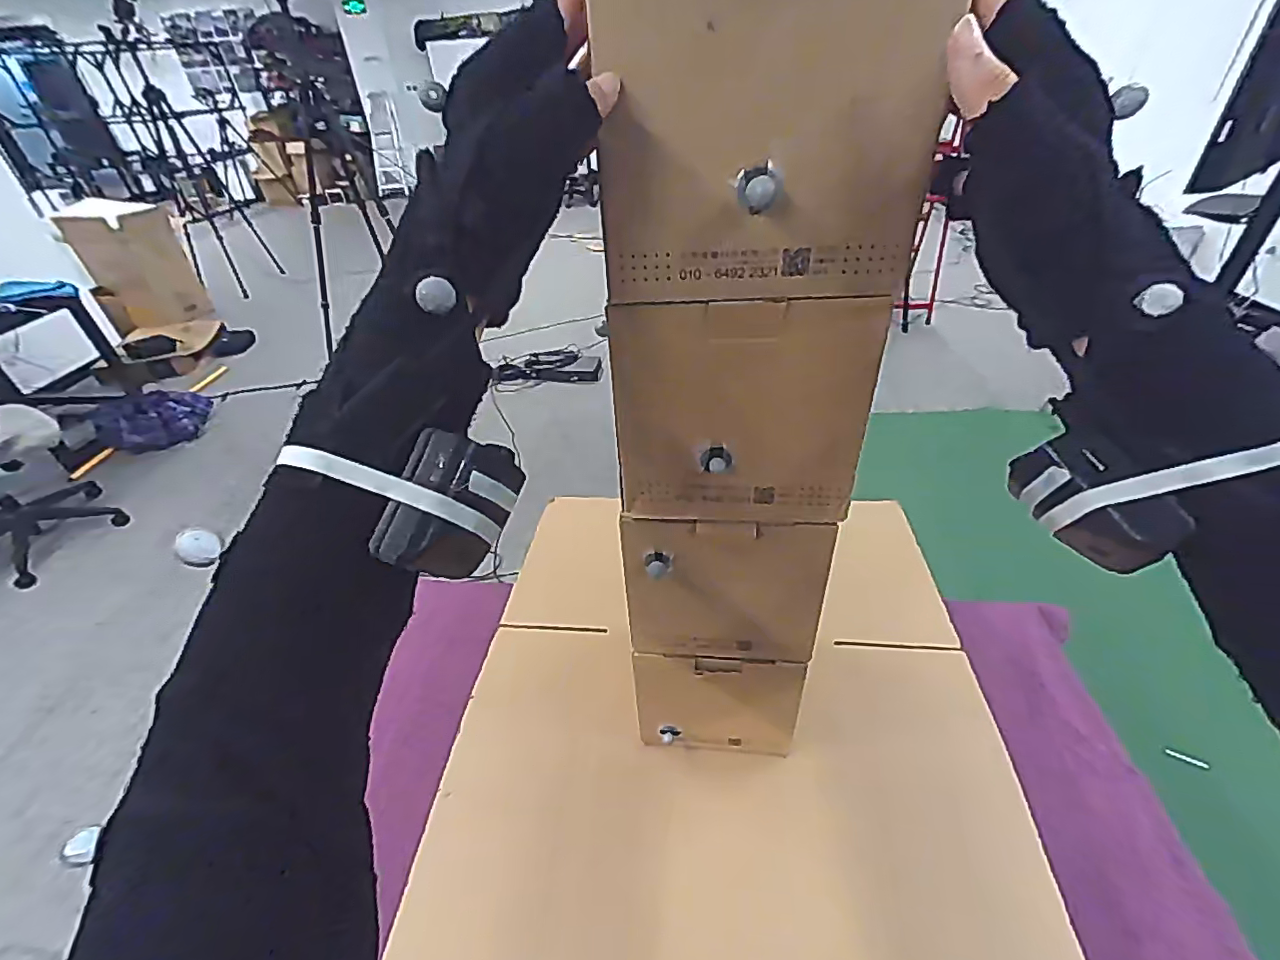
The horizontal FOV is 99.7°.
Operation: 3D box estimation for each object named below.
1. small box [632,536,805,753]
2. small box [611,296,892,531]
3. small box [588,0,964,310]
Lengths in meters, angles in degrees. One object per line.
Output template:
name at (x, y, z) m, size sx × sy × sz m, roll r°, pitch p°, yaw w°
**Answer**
small box at (0.089, 0.185, 0.618) m, size 0.168 × 0.176 × 0.179 m, roll 1°, pitch 36°, yaw 8°
small box at (0.073, -0.081, 0.427) m, size 0.168 × 0.176 × 0.179 m, roll 1°, pitch 36°, yaw 6°
small box at (0.063, -0.213, 0.330) m, size 0.168 × 0.176 × 0.179 m, roll -1°, pitch 37°, yaw 5°
